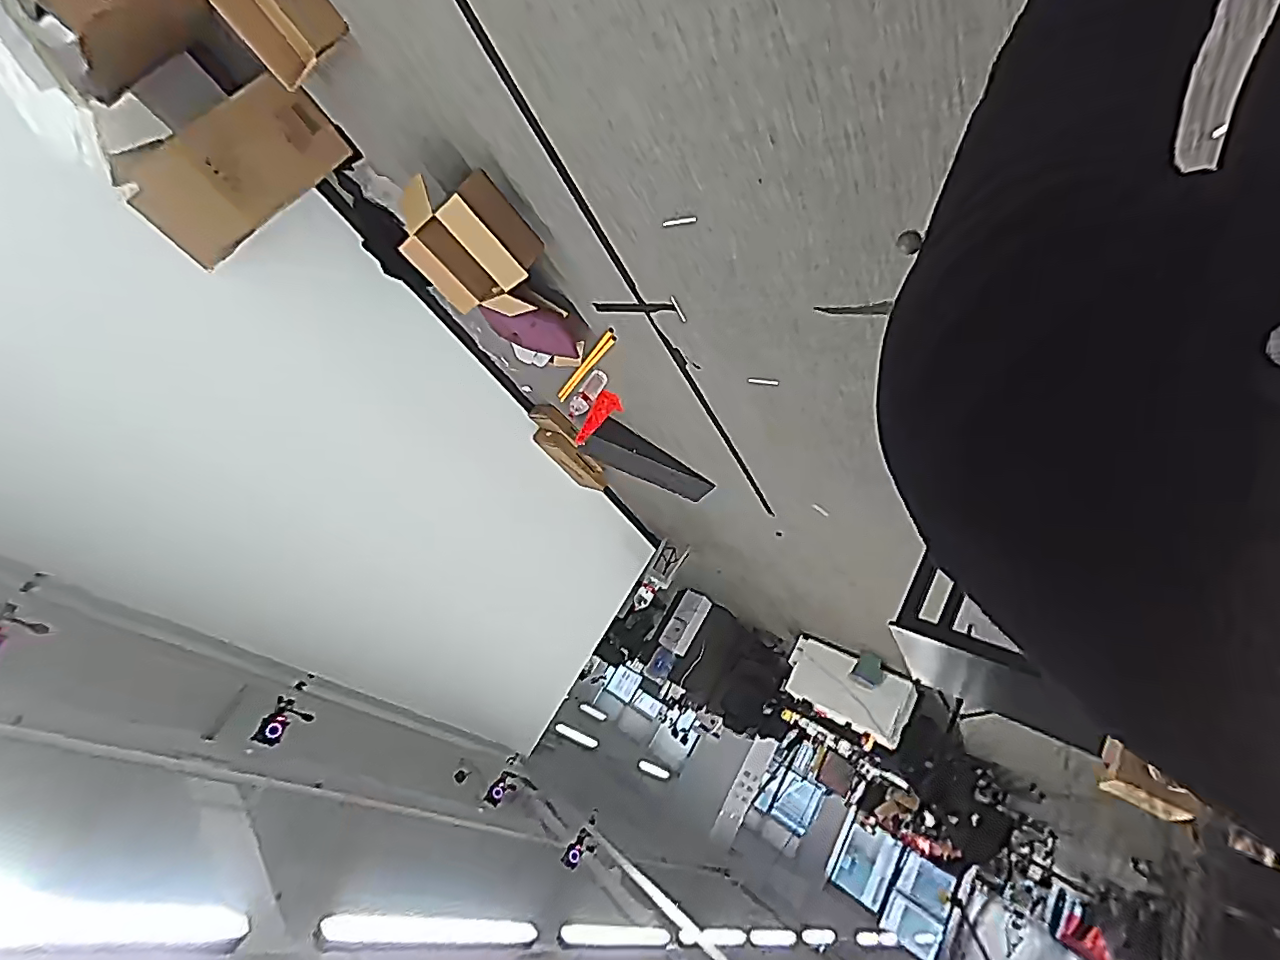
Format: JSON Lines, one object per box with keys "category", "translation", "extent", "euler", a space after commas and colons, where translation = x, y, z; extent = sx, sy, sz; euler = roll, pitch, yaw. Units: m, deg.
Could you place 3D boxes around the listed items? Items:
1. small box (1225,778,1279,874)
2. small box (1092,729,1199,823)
{"category": "small box", "translation": [1.584, 0.864, 1.316], "extent": [0.179, 0.176, 0.168], "euler": [16, 155, 42]}
{"category": "small box", "translation": [1.406, 0.819, 1.505], "extent": [0.168, 0.176, 0.179], "euler": [22, 160, 33]}
